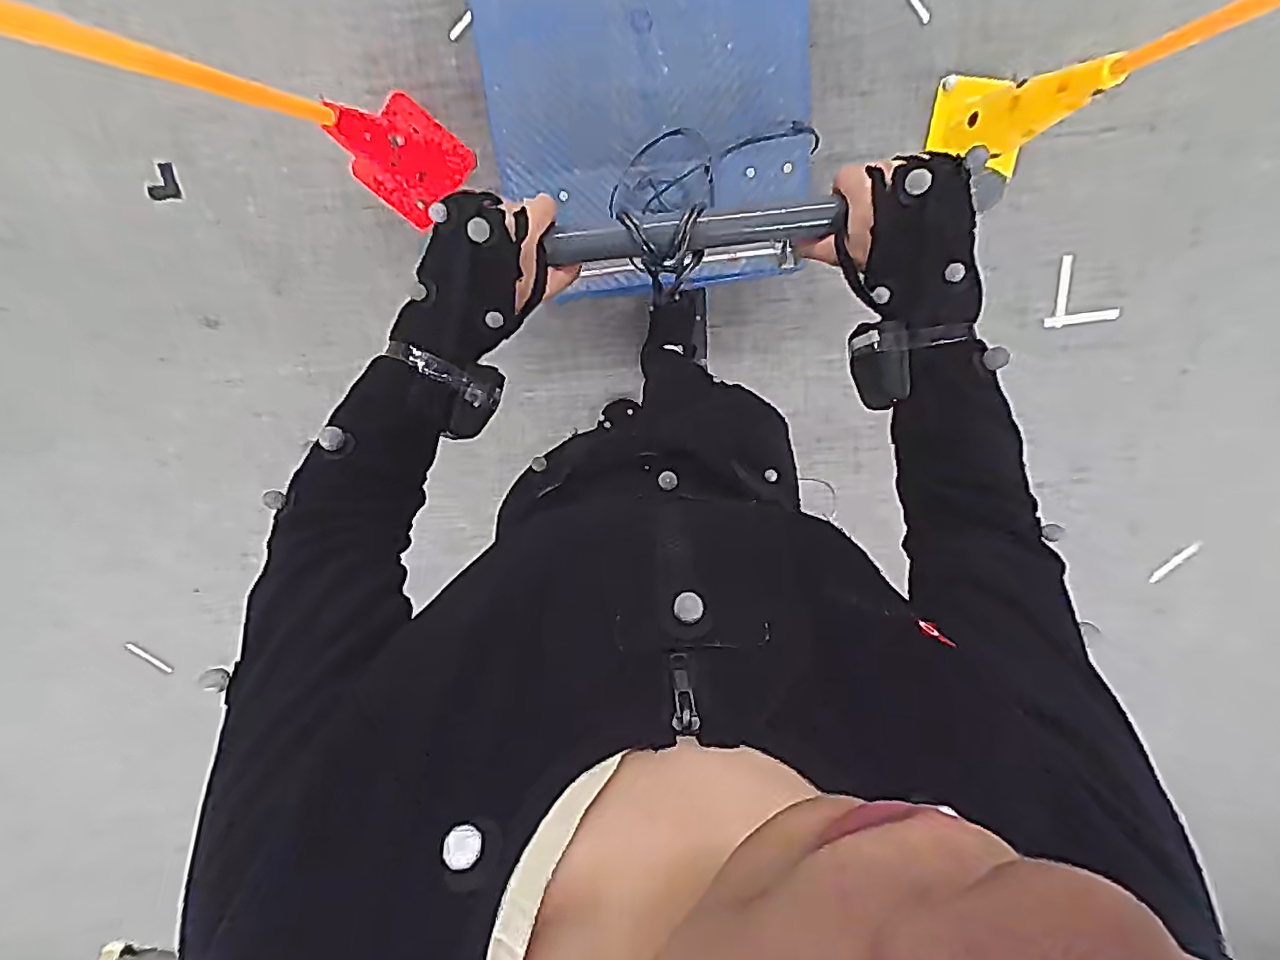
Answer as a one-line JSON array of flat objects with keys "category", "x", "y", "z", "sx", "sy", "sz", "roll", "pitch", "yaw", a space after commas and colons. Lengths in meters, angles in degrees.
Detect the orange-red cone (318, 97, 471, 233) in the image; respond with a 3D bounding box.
[{"category": "orange-red cone", "x": -0.472, "y": -0.600, "z": 0.972, "sx": 0.198, "sy": 0.360, "sz": 0.199, "roll": 38, "pitch": 103, "yaw": -14}]
